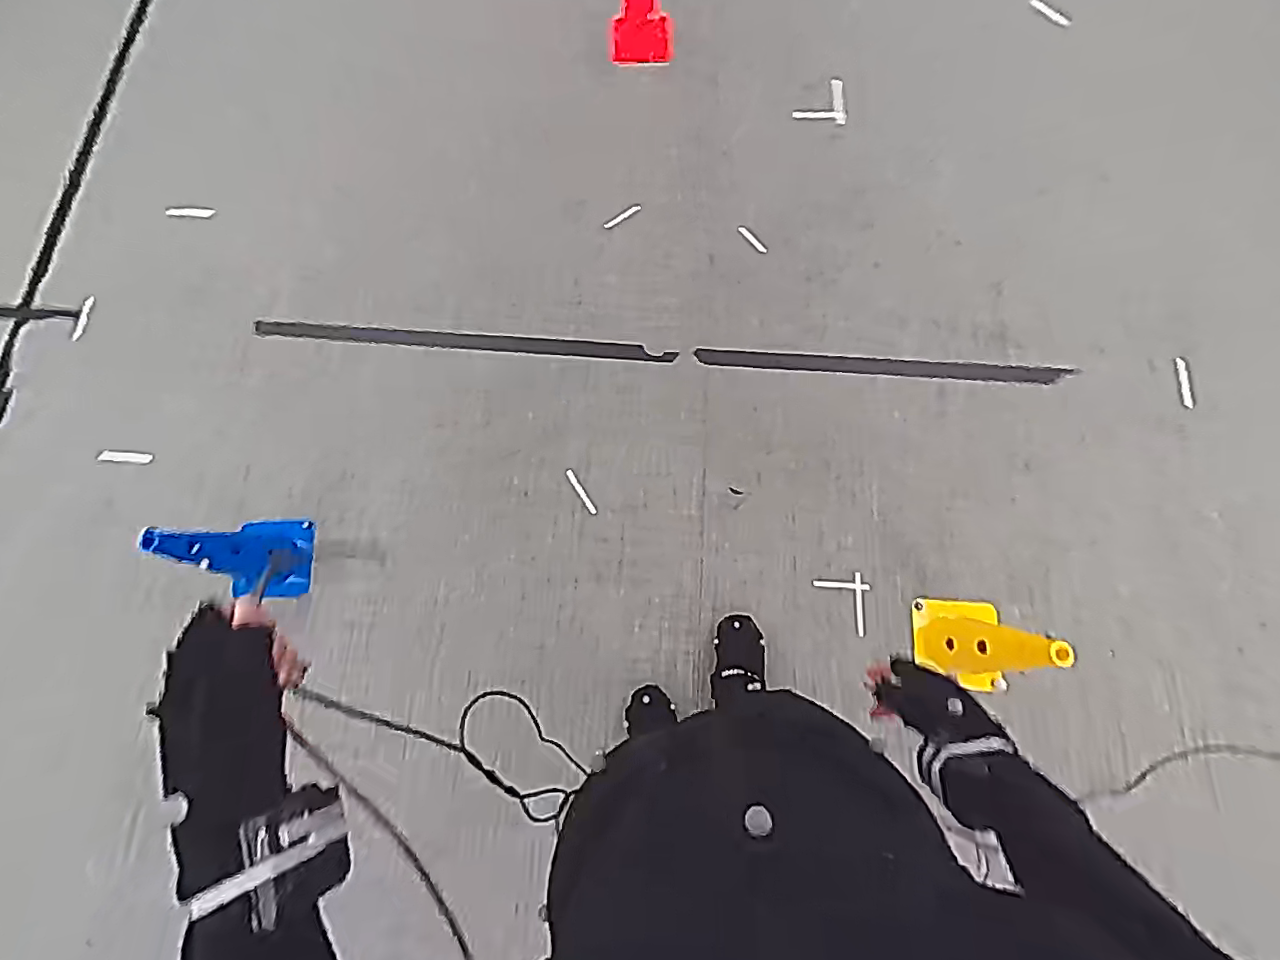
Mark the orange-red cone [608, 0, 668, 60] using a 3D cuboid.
[{"bbox_3d":[-0.018,-1.514,1.624,0.199,0.360,0.198,-1,75,4],"label":"orange-red cone"}]

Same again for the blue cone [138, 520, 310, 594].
[{"bbox_3d":[-0.962,0.158,1.240,0.193,0.380,0.192,-2,75,2],"label":"blue cone"}]
